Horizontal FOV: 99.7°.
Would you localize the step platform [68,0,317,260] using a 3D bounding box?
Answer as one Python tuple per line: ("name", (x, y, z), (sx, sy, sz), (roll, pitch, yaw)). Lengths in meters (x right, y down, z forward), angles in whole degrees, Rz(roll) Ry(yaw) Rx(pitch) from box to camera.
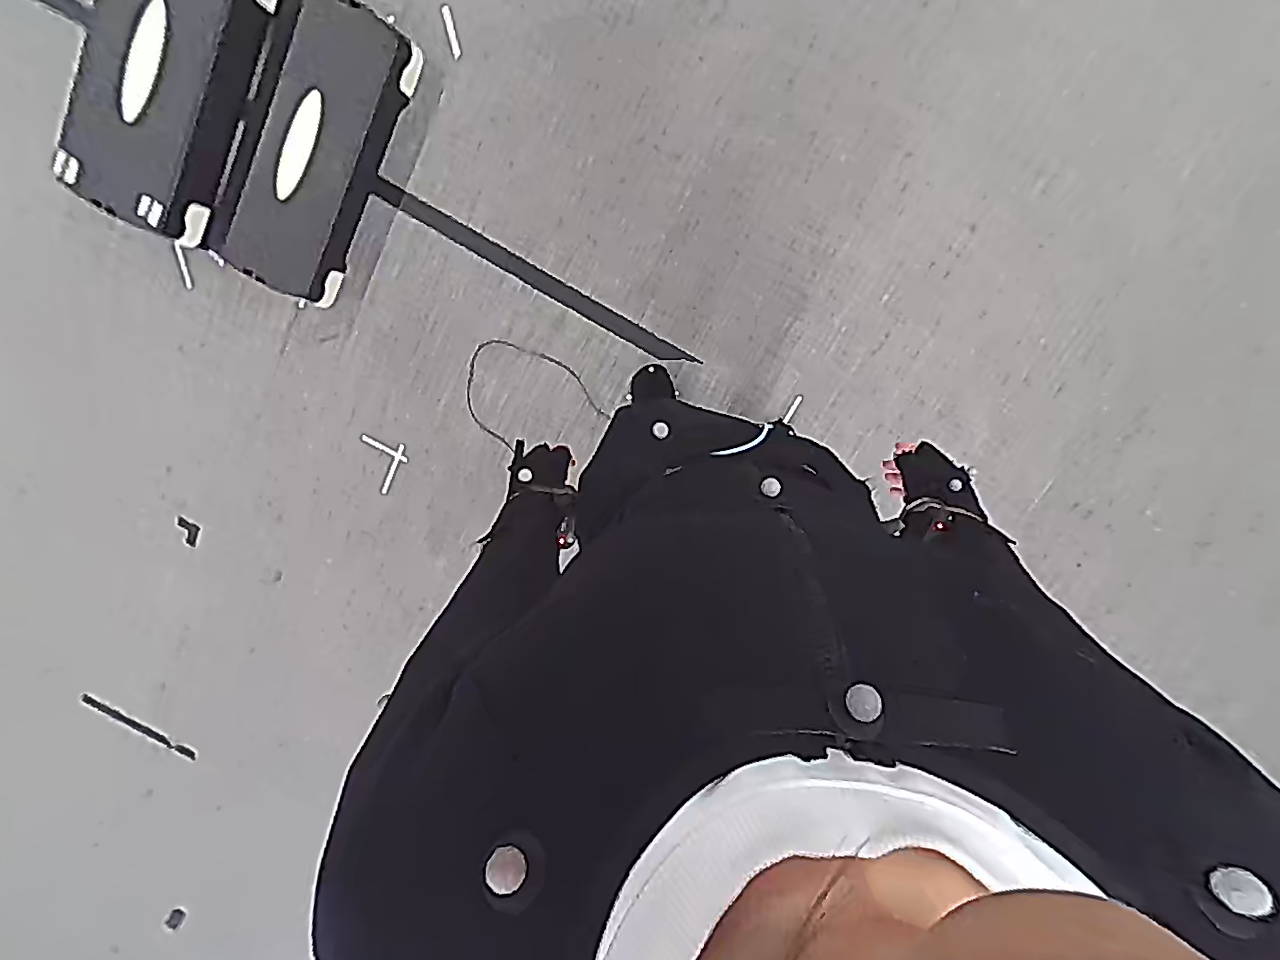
("step platform", (-1.019, -0.883, 1.235), (0.286, 0.204, 0.684), (27, 102, -3))
